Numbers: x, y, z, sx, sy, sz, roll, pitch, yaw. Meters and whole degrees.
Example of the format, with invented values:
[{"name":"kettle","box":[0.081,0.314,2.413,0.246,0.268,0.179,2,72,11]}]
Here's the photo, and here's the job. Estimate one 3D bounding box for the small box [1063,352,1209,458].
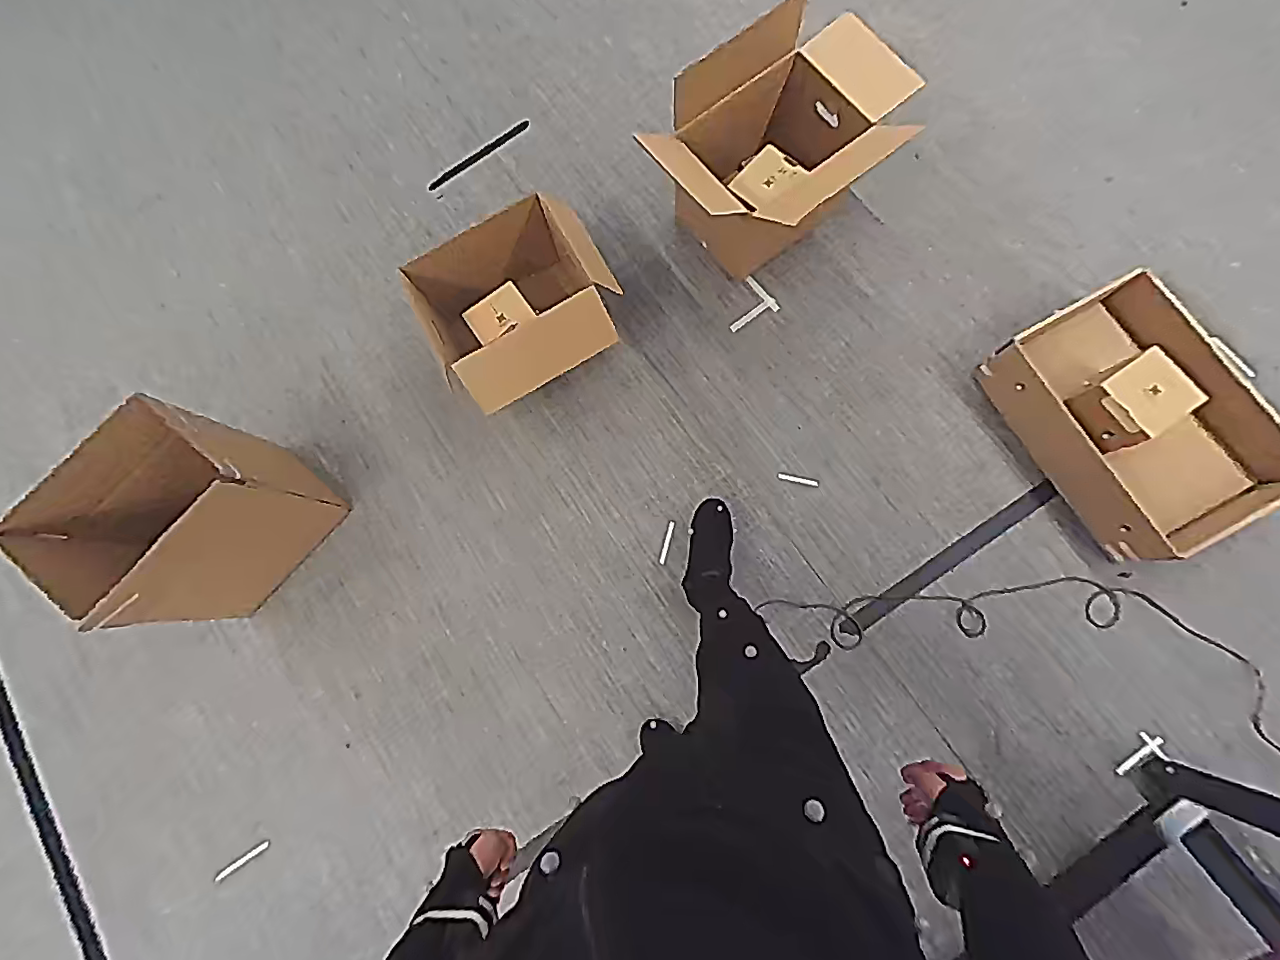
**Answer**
[{"name":"small box","box":[1.193,-0.174,1.324,0.179,0.176,0.168,-34,79,-3]}]
